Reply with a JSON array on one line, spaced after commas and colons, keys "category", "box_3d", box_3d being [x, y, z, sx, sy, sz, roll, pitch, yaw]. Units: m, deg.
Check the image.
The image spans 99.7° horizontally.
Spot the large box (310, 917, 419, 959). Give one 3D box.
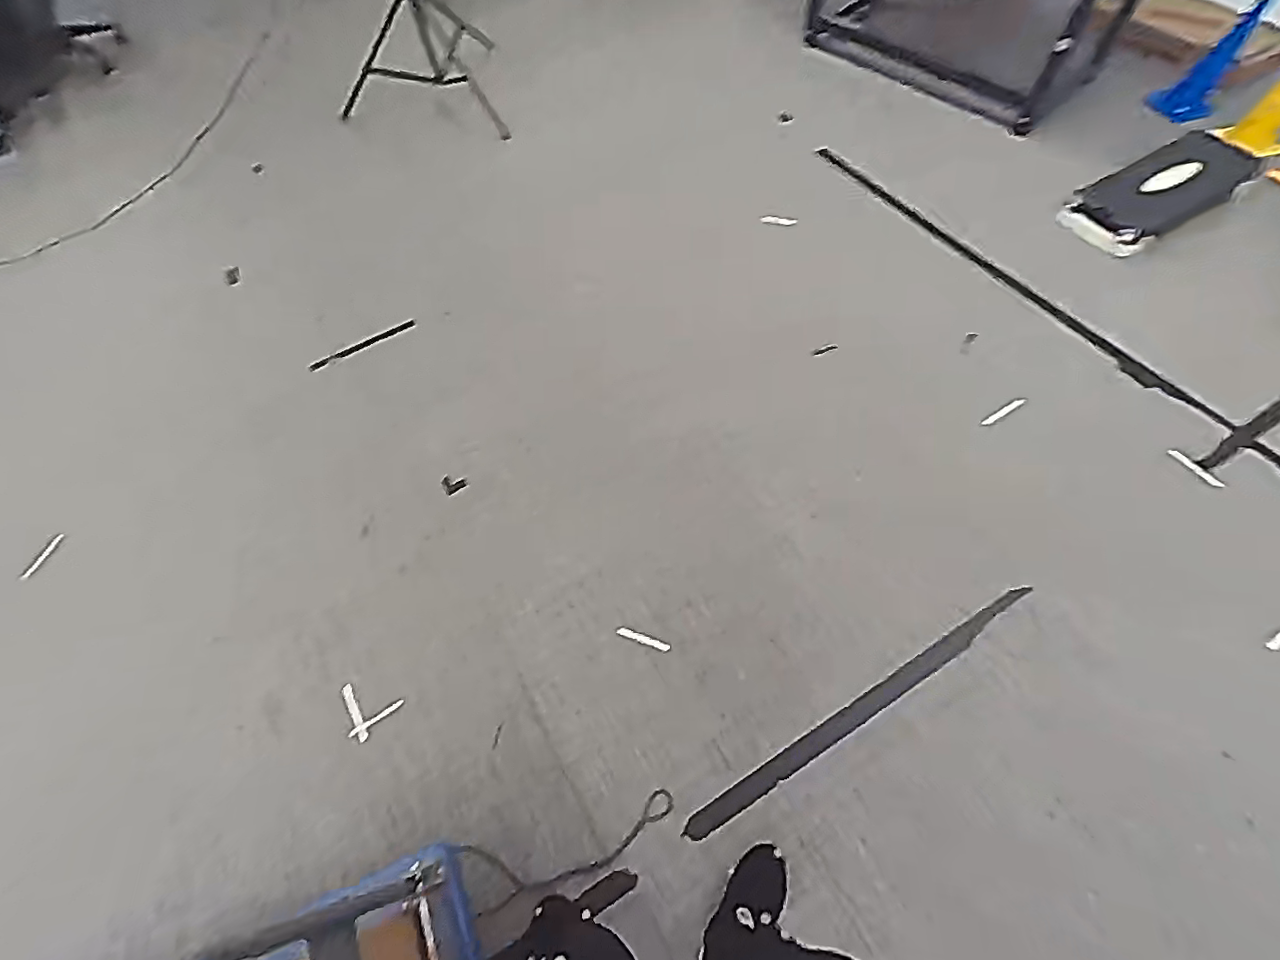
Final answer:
[{"category": "large box", "box_3d": [-0.500, 0.970, 0.788, 0.320, 0.320, 0.408, -23, 61, -9]}]
